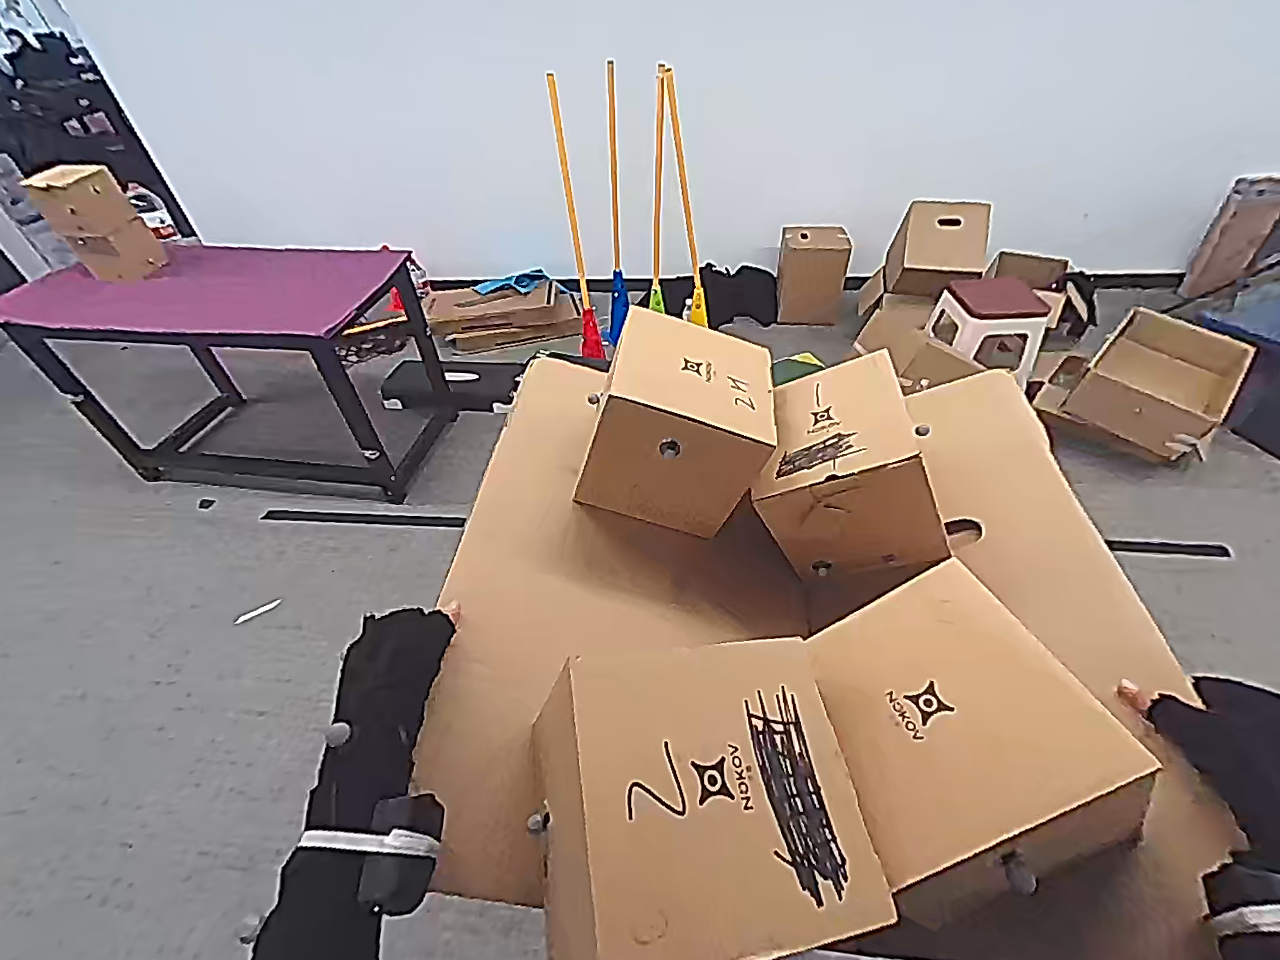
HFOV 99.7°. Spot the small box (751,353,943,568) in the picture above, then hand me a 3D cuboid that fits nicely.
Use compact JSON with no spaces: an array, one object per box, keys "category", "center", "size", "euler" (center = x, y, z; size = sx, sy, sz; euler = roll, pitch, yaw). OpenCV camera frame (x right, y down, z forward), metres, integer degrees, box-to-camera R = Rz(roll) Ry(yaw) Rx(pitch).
[{"category":"small box","center":[0.241,-0.011,0.642],"size":[0.168,0.176,0.179],"euler":[-17,40,27]}]
